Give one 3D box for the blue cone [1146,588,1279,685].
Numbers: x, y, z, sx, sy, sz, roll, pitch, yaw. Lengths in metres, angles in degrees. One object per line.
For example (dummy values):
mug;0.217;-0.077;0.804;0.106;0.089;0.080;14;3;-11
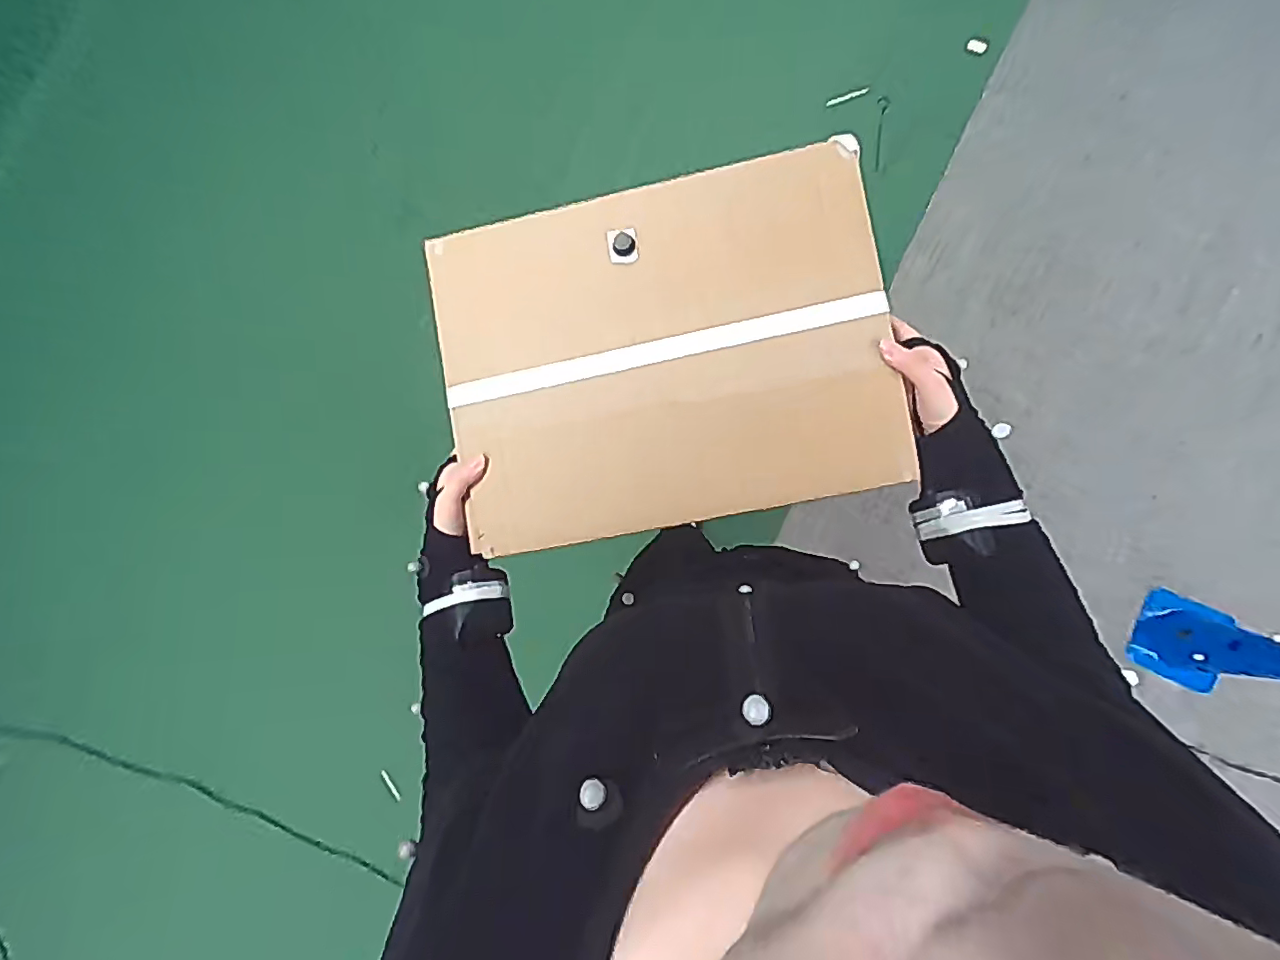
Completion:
blue cone;1.306;0.349;1.130;0.192;0.380;0.193;22;86;10
